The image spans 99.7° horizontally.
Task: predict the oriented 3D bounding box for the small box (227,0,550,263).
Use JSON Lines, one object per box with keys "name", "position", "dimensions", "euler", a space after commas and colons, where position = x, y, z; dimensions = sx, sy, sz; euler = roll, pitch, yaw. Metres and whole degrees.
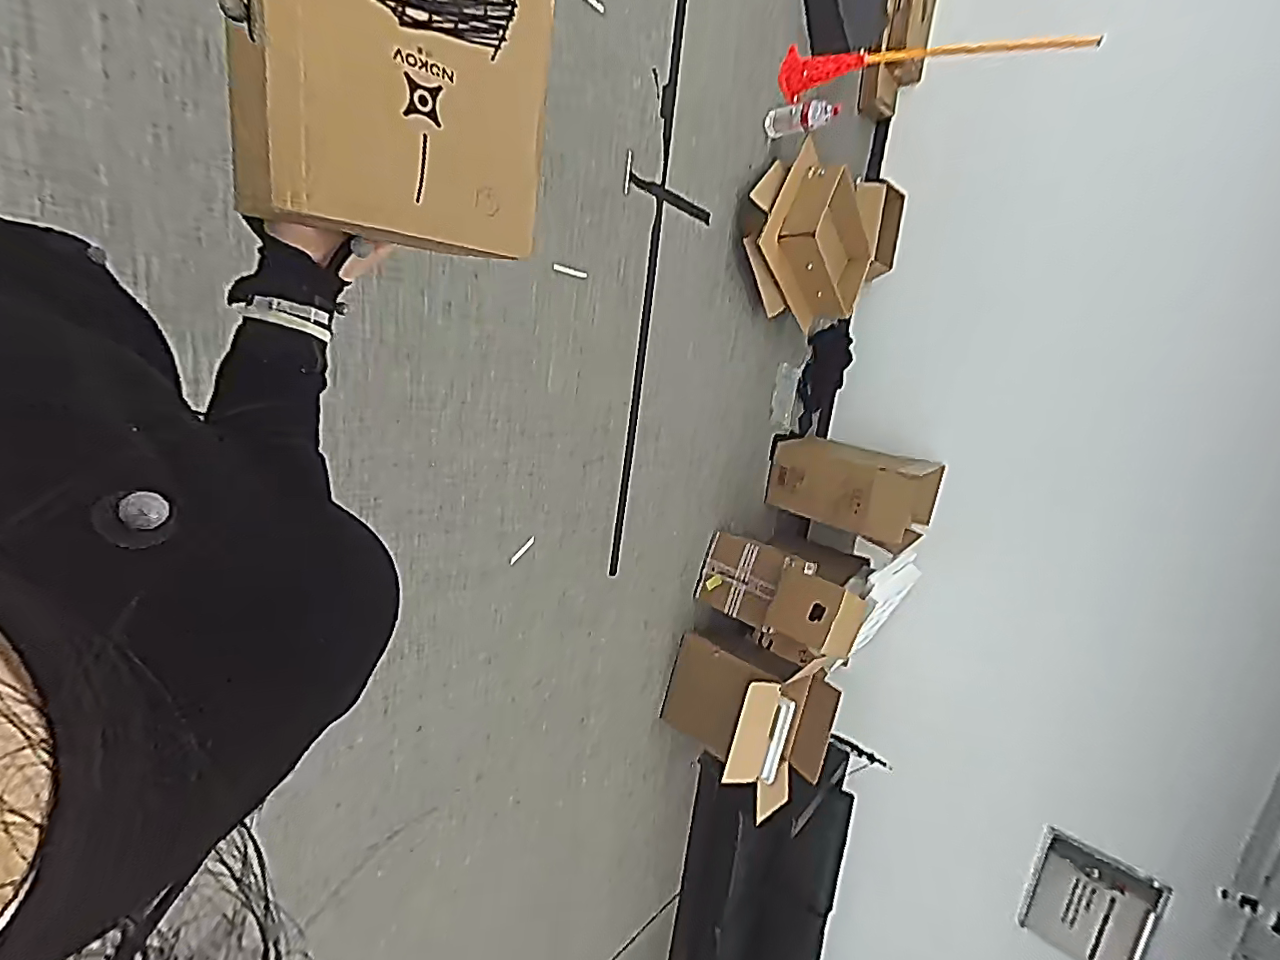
{"name": "small box", "position": [-0.186, -0.268, 0.392], "dimensions": [0.168, 0.176, 0.179], "euler": [-6, 114, -41]}
